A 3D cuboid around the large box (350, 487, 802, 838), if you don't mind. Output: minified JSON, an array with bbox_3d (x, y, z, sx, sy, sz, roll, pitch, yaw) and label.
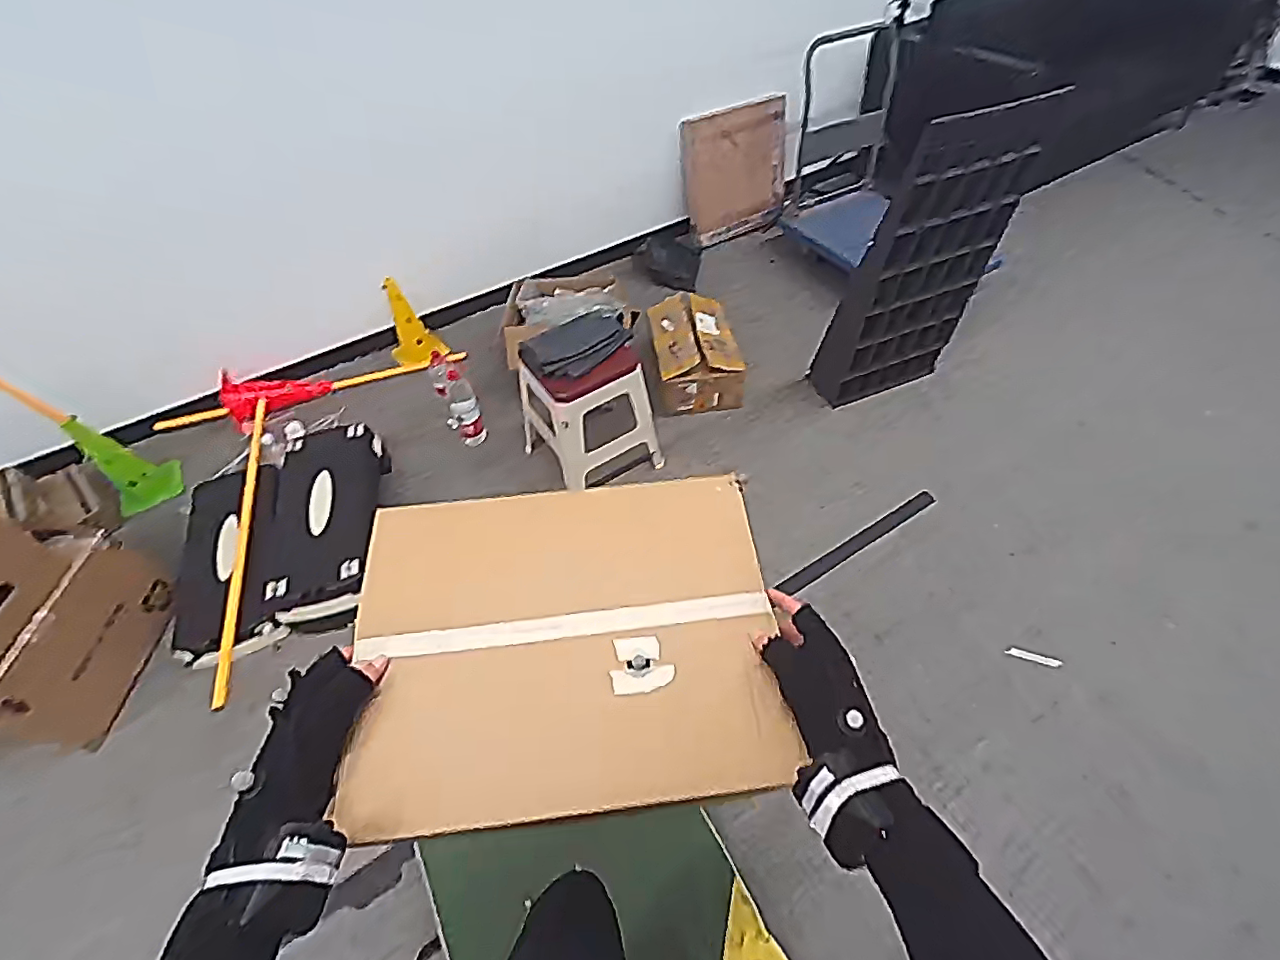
[{"bbox_3d":[-0.070,0.234,0.672,0.408,0.320,0.320,-4,57,-4],"label":"large box"}]
